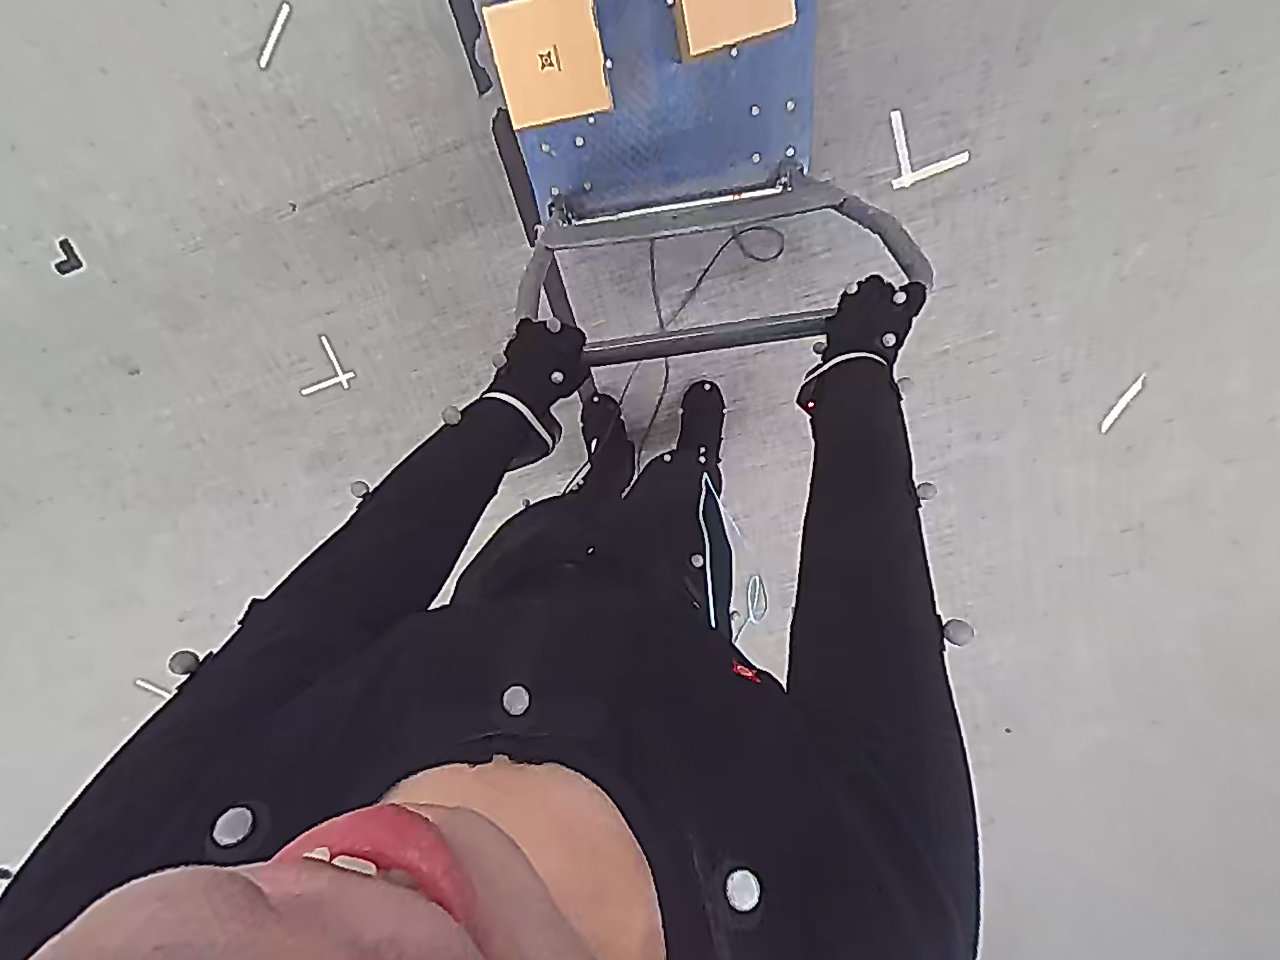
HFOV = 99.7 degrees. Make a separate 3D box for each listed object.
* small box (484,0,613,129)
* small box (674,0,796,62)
[{"bbox_3d":[-0.148,-0.729,0.950,0.179,0.176,0.168,-10,122,4],"label":"small box"},{"bbox_3d":[0.146,-0.819,0.894,0.179,0.176,0.168,-12,123,7],"label":"small box"}]
